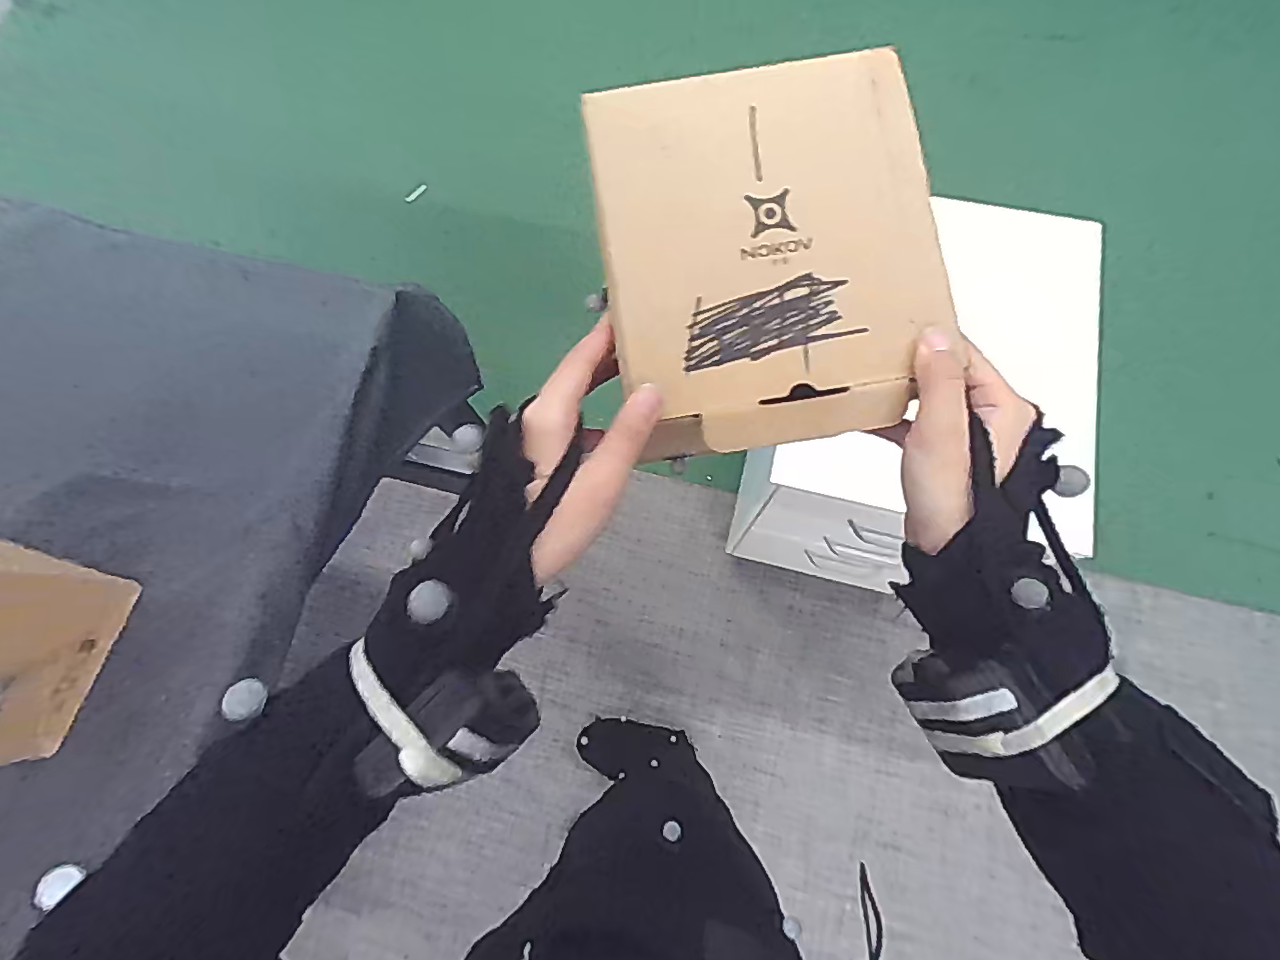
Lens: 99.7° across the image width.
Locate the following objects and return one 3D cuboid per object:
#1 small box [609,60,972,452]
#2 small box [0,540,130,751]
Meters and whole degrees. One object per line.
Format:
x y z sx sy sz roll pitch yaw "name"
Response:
0.074 -0.117 0.353 0.168 0.176 0.179 -7 84 -1 "small box"
-0.616 0.134 0.464 0.179 0.176 0.168 15 74 7 "small box"
